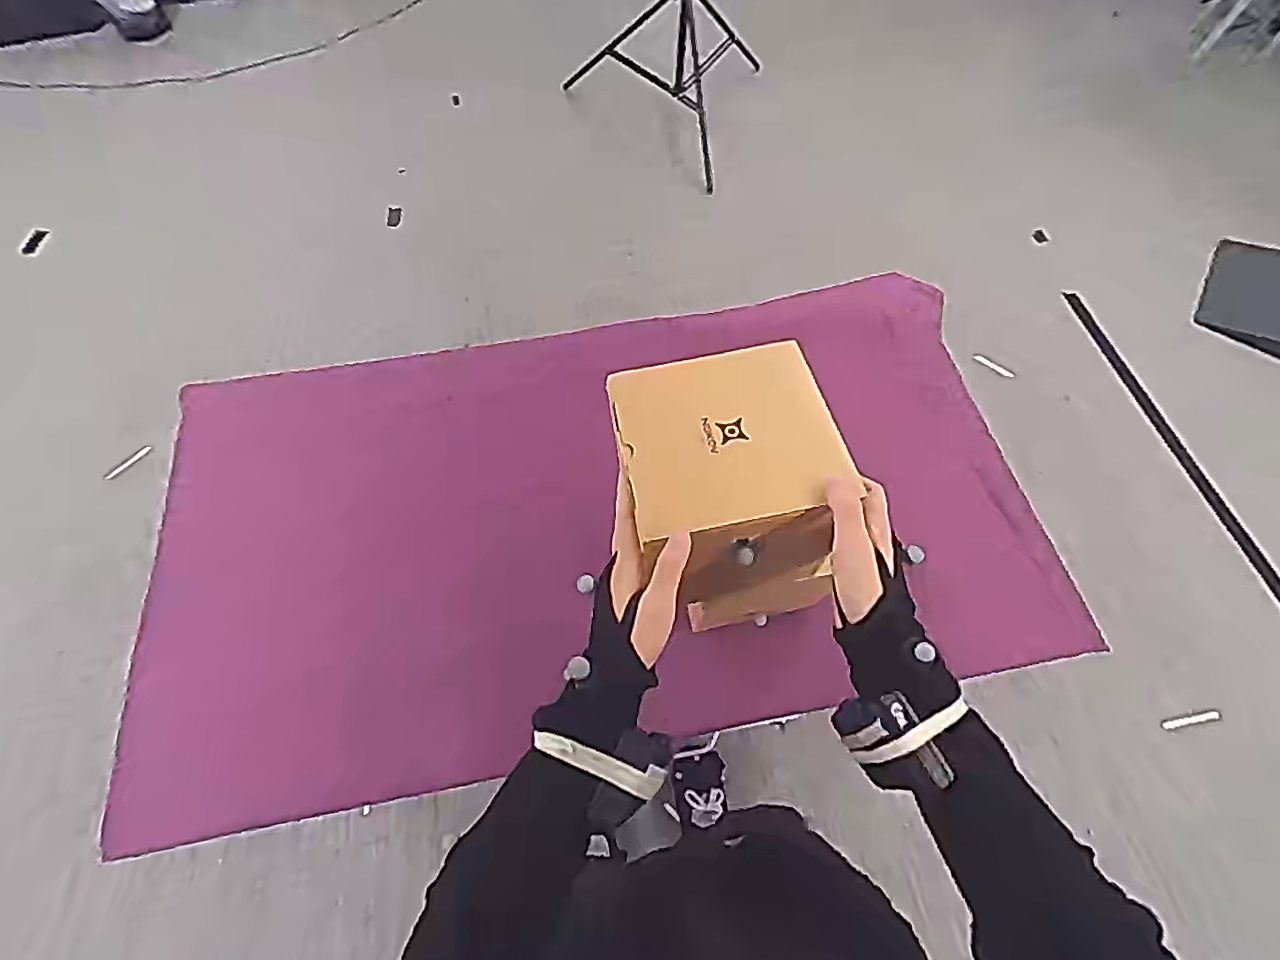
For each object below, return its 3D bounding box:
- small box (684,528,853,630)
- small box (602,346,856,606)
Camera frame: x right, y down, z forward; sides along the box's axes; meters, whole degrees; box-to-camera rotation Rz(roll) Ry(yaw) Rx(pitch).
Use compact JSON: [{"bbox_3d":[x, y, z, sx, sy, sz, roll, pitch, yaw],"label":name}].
[{"bbox_3d":[0.129,0.071,0.670,0.168,0.176,0.179,-10,65,-5],"label":"small box"},{"bbox_3d":[0.069,0.005,0.509,0.179,0.176,0.168,-12,60,-2],"label":"small box"}]
